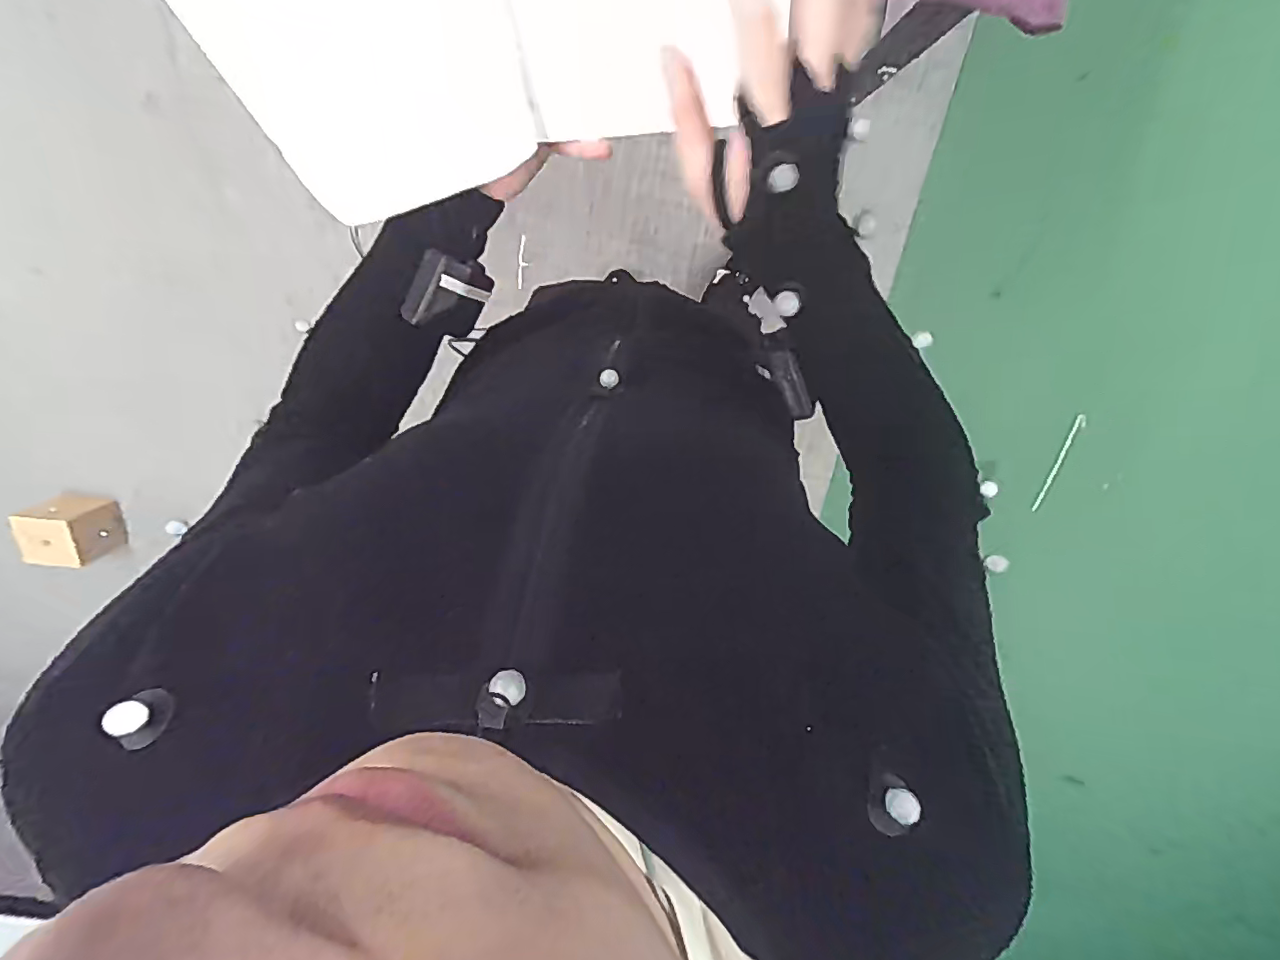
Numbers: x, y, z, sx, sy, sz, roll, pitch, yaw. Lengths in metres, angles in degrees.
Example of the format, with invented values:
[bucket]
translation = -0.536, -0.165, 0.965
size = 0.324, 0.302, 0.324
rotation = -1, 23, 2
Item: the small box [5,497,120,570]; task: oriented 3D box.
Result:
[small box]
translation = -1.805, 0.165, 1.707
size = 0.179, 0.176, 0.168
rotation = 6, 111, -1
